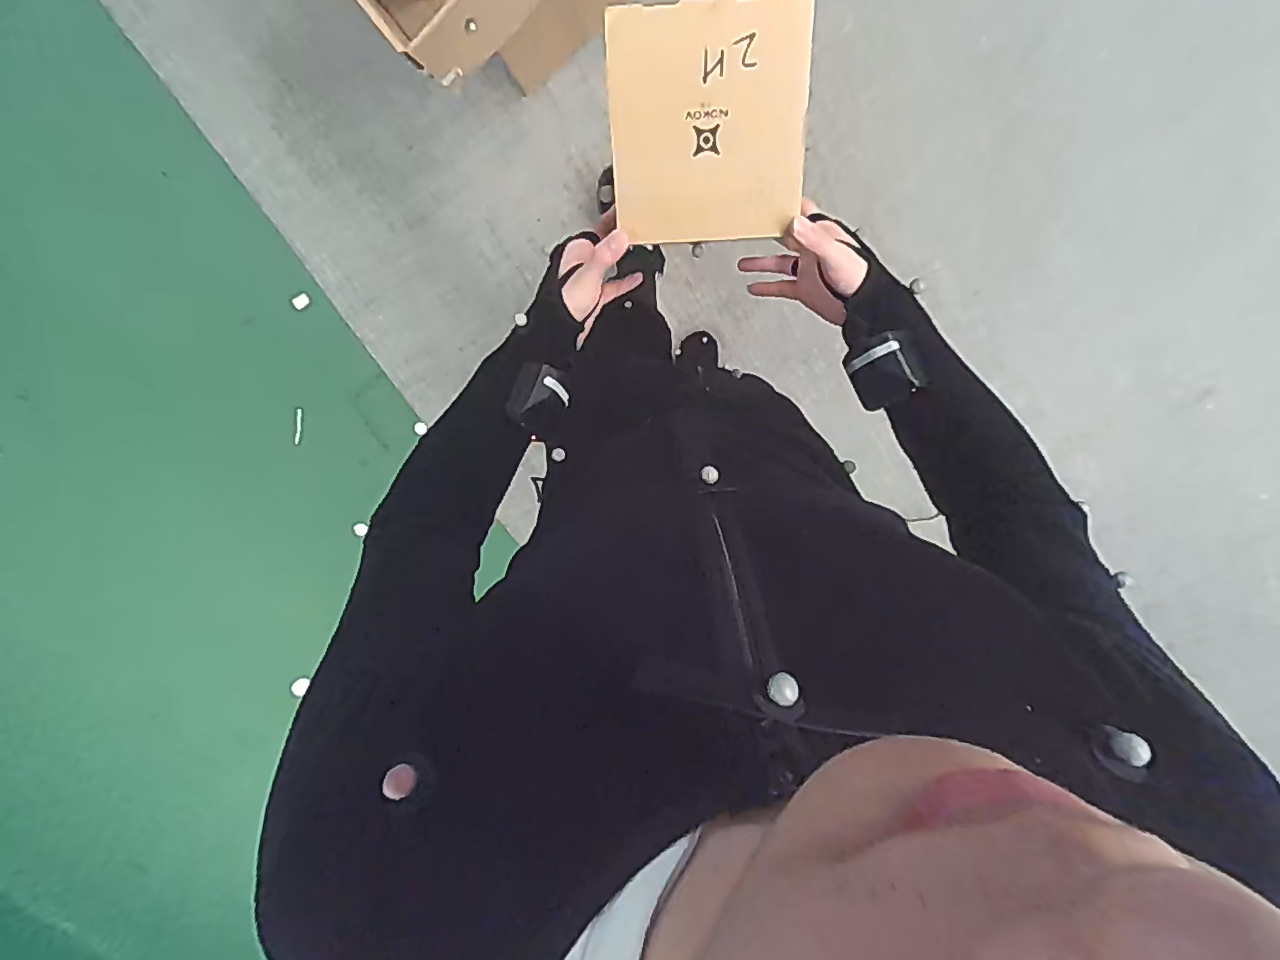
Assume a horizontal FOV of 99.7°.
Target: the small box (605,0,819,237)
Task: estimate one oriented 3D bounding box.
[{"bbox_3d":[0.060,-0.330,0.514,0.168,0.176,0.179,-1,114,3],"label":"small box"}]
